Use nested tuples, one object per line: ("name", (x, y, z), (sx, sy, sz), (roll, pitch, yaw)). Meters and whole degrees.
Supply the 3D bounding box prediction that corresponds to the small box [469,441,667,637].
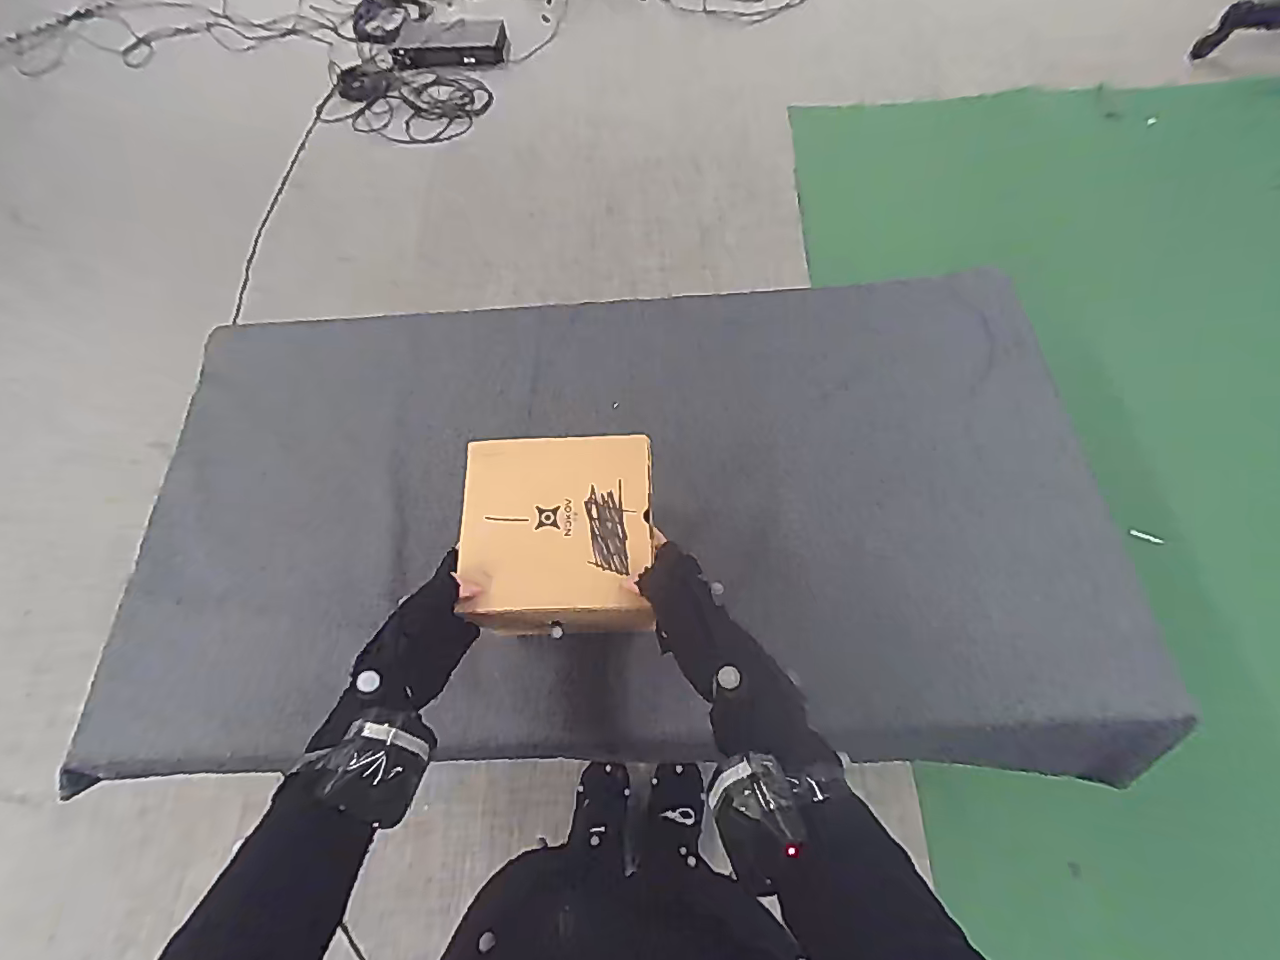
("small box", (-0.072, 0.070, 0.576), (0.179, 0.176, 0.168), (-4, 68, -3))
